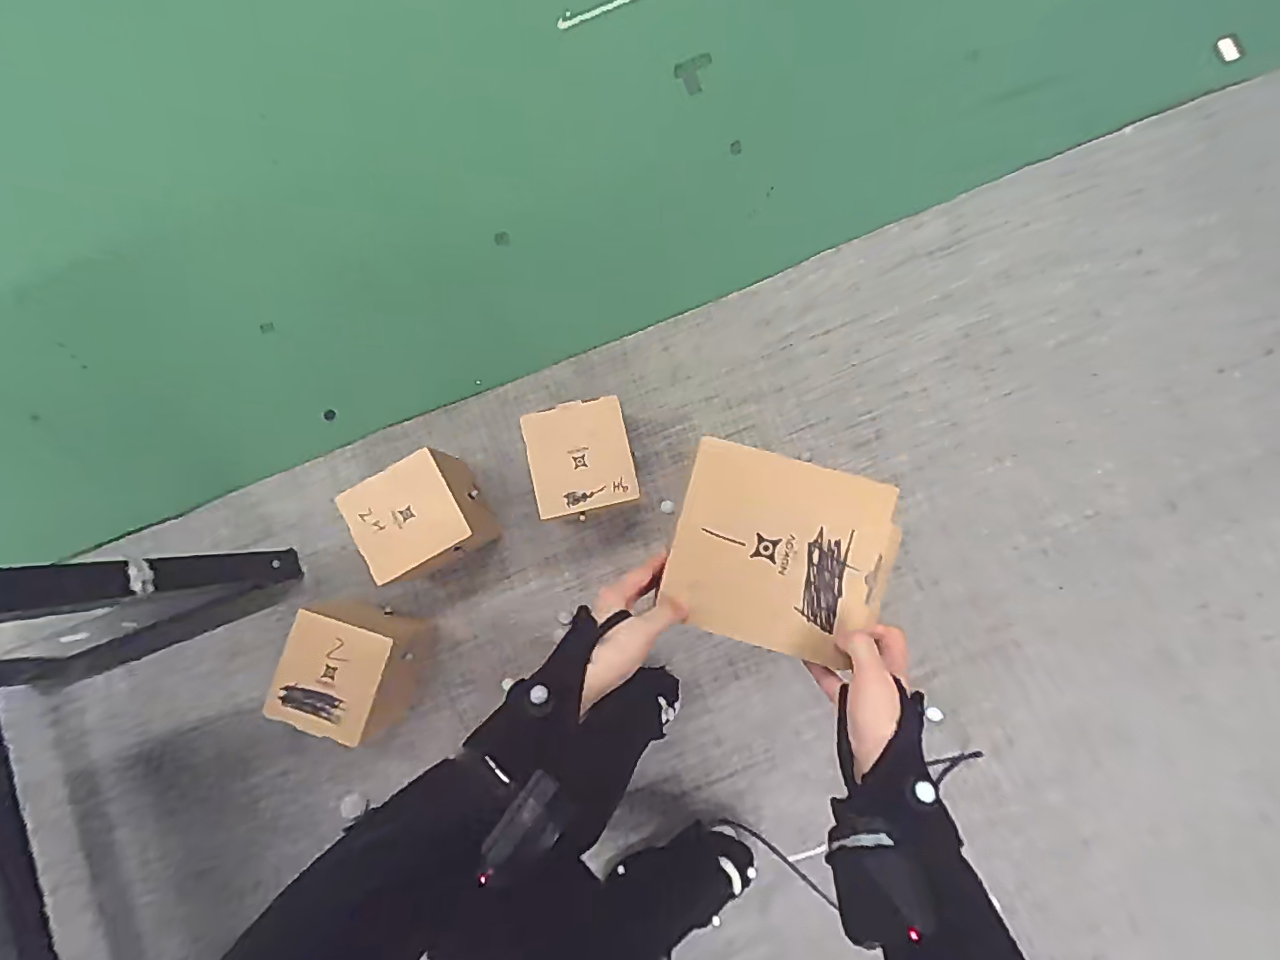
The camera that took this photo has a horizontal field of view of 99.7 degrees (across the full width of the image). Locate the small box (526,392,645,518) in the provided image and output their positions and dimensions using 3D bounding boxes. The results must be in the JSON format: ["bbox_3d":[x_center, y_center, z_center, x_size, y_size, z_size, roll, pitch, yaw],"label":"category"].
[{"bbox_3d":[-0.089,-0.035,0.942,0.168,0.176,0.179,-12,85,0],"label":"small box"}]

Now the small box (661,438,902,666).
[{"bbox_3d":[0.126,0.062,0.552,0.179,0.176,0.168,16,90,3],"label":"small box"}]

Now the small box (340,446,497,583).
[{"bbox_3d":[-0.370,0.060,0.944,0.179,0.176,0.168,-29,84,-1],"label":"small box"}]
